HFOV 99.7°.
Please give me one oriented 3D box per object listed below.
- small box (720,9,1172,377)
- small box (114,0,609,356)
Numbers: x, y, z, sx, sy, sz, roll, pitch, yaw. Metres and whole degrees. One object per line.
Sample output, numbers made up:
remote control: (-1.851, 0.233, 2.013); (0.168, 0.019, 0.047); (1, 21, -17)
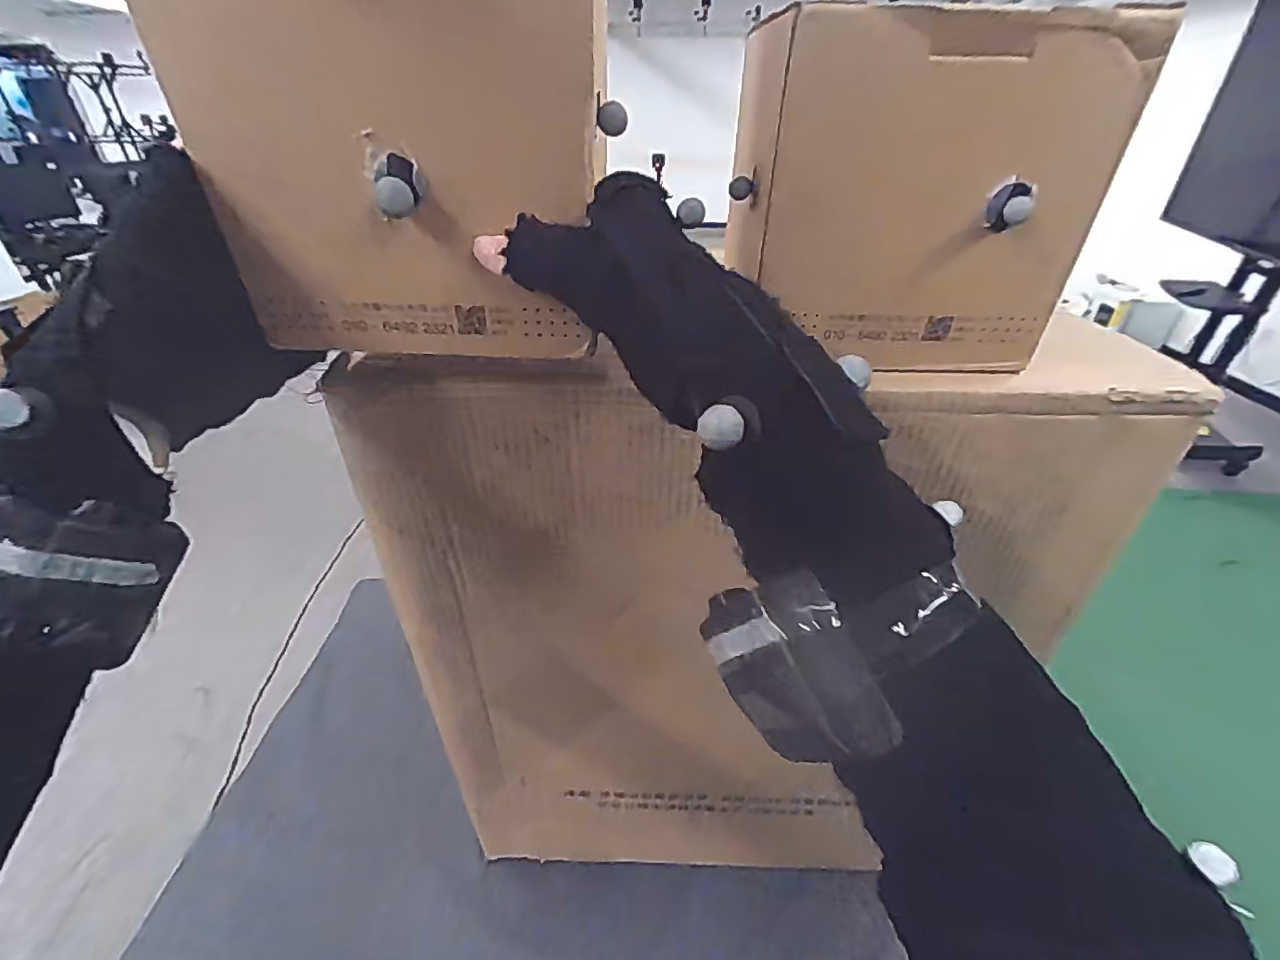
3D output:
small box: (0.145, -0.174, 0.341); (0.168, 0.176, 0.179); (3, 35, 1)
small box: (-0.103, -0.179, 0.288); (0.168, 0.176, 0.179); (2, 41, -2)
